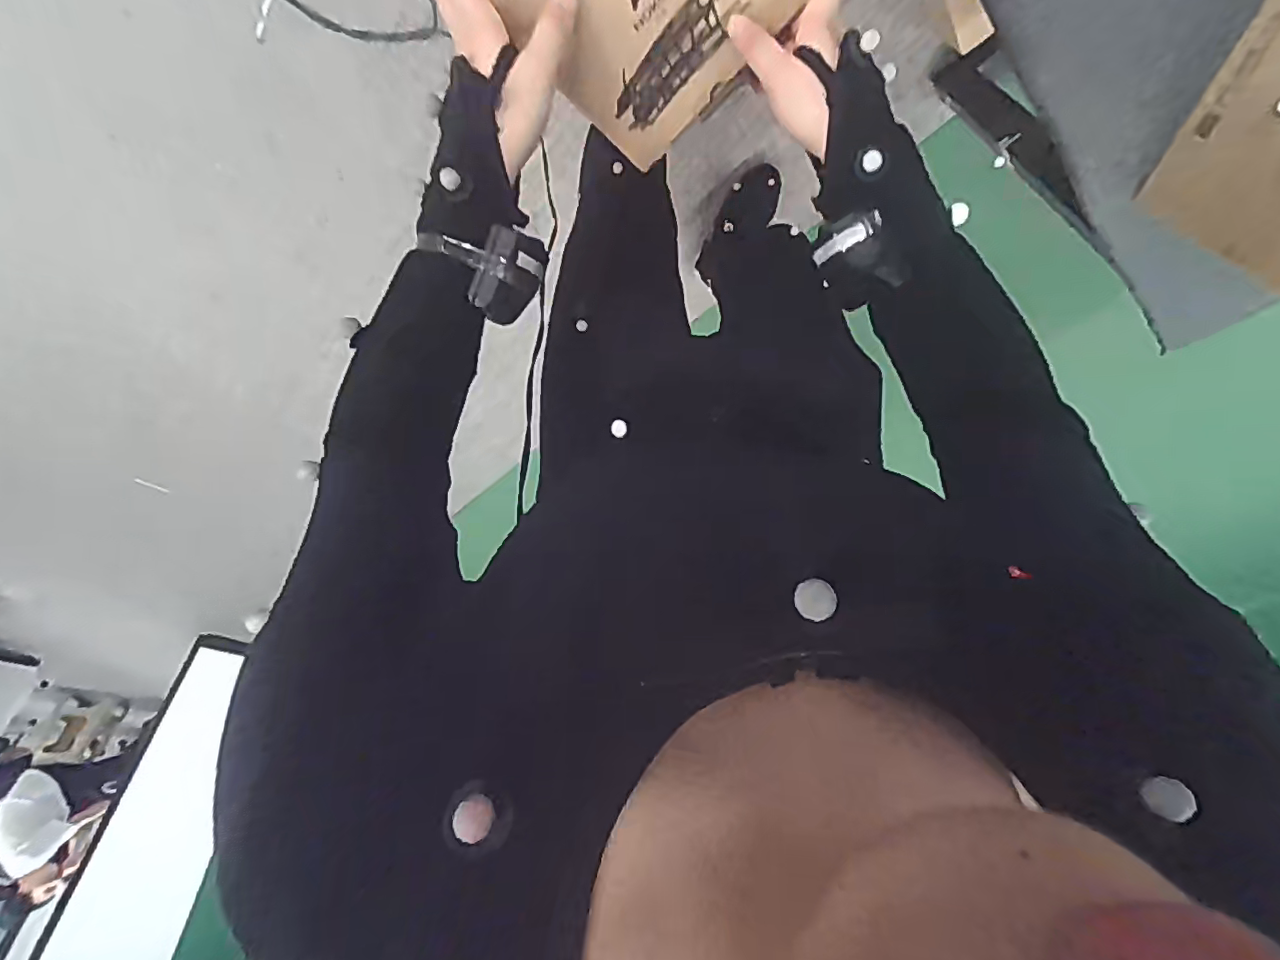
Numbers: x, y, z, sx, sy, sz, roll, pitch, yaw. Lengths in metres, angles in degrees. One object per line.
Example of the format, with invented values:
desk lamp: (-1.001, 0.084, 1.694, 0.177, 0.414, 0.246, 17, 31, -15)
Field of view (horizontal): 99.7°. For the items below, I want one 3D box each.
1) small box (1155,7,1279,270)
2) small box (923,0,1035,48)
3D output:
small box: (0.495, -0.226, 0.330, 0.179, 0.176, 0.168, 0, 139, -1)
small box: (0.508, -0.796, 0.789, 0.168, 0.176, 0.179, -27, 135, 31)
